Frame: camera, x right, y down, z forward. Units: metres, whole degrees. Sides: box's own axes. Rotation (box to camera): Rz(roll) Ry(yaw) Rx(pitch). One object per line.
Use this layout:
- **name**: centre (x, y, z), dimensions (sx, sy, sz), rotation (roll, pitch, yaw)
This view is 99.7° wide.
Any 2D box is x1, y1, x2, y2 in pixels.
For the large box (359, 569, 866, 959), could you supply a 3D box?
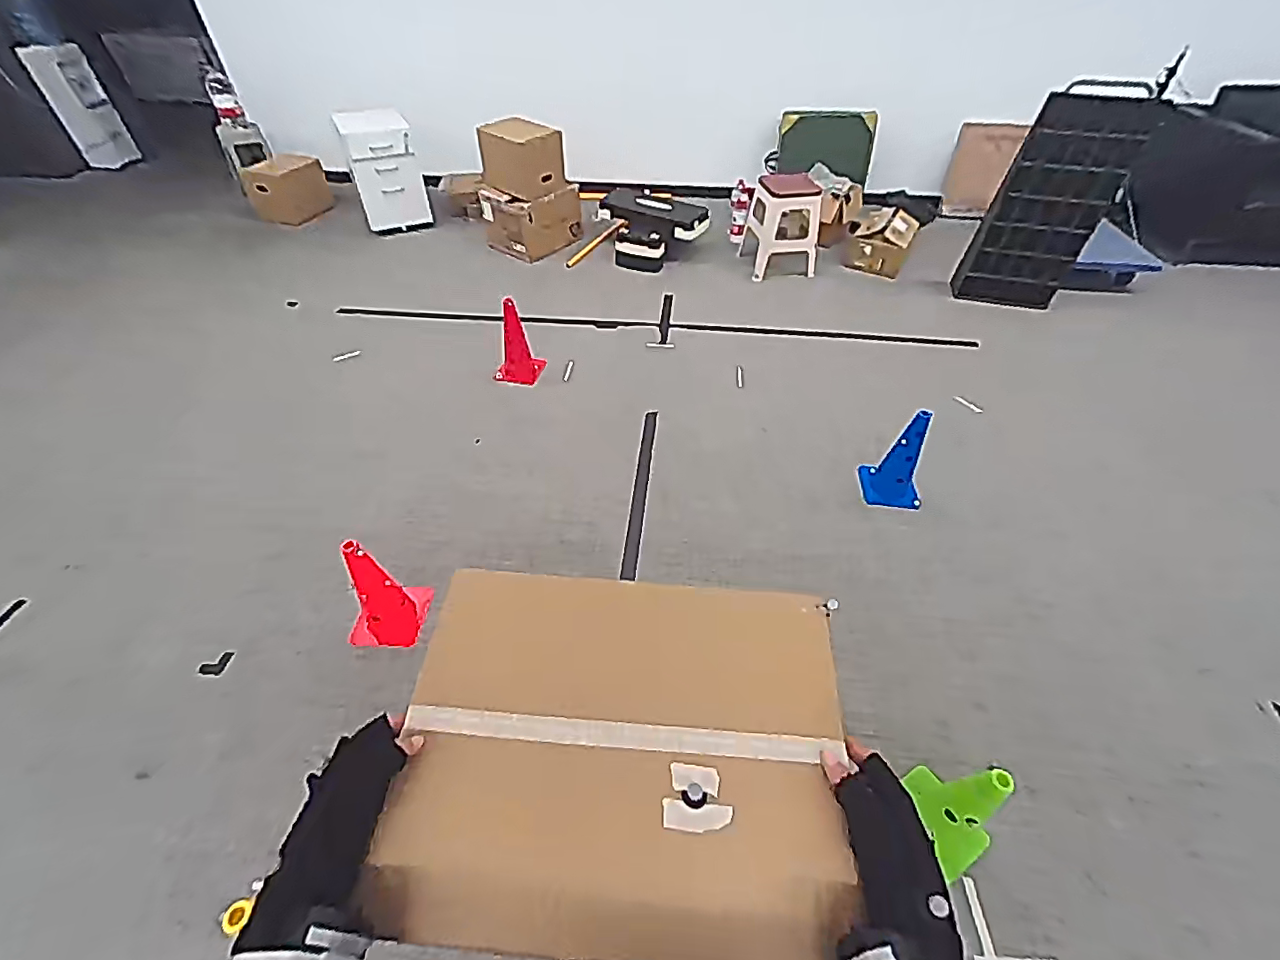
- **large box**: centre (-0.018, 0.325, 0.622), dimensions (0.408, 0.320, 0.320), rotation (5, 53, 2)

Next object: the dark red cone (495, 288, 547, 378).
- **dark red cone**: centre (-0.546, -0.655, 2.391), dimensions (0.201, 0.394, 0.202), rotation (10, 47, 7)

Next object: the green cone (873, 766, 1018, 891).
- **green cone**: centre (0.689, 0.693, 1.150), dimensions (0.202, 0.368, 0.200), rotation (-23, 51, -23)

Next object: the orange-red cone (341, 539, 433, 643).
- **orange-red cone**: centre (-0.748, 0.287, 1.518), dimensions (0.198, 0.360, 0.199), rotation (2, 48, 2)

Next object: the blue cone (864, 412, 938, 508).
- **blue cone**: centre (0.954, -0.087, 1.926), dimensions (0.192, 0.380, 0.193), rotation (8, 47, 5)
